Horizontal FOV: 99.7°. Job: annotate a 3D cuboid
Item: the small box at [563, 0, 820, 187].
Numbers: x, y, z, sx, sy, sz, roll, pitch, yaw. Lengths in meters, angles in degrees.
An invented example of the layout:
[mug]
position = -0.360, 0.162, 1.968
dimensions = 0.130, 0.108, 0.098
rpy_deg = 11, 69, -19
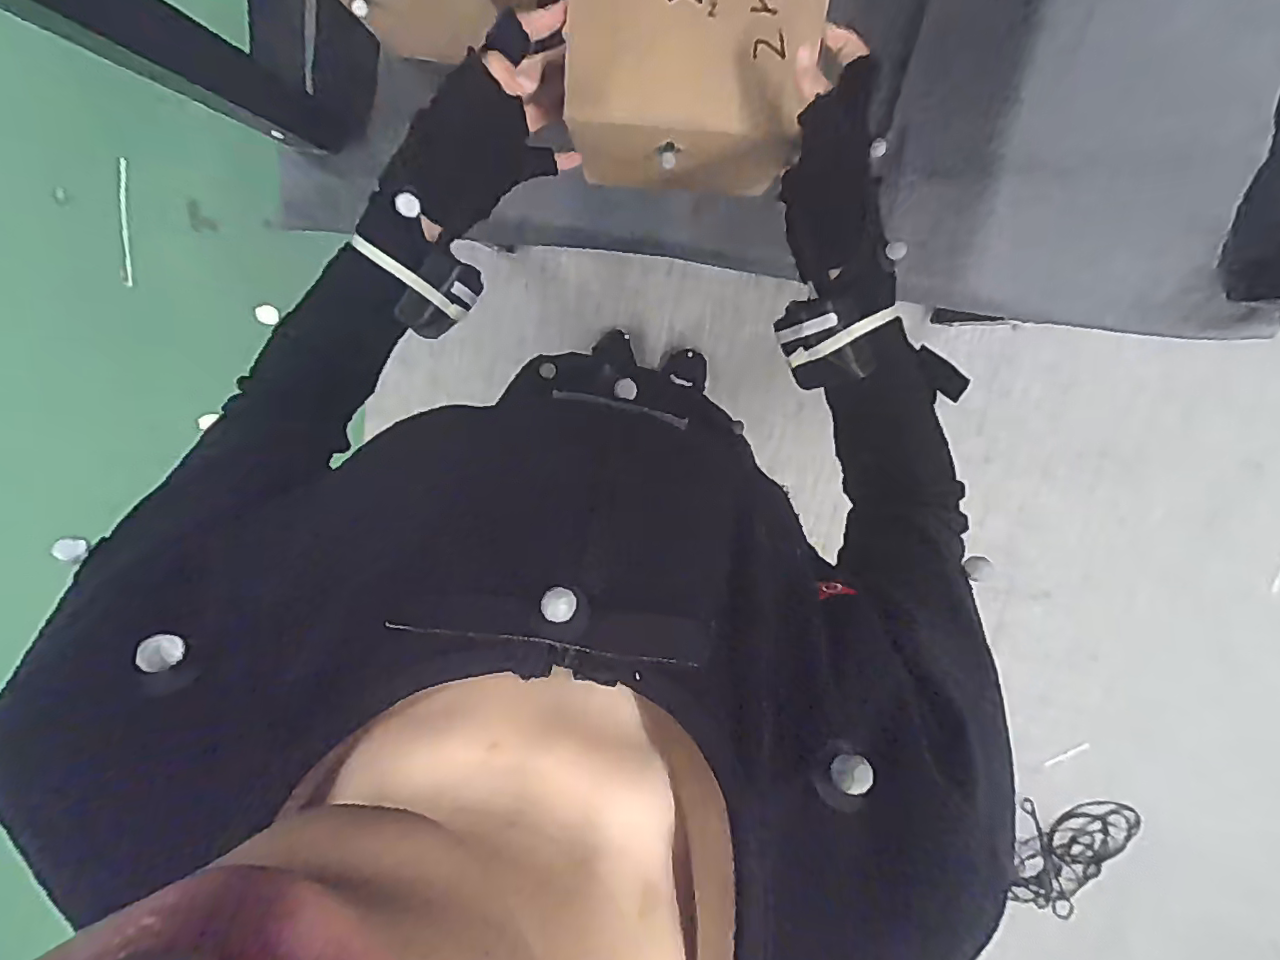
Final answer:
[small box]
position = 0.038, -0.354, 0.446
dimensions = 0.179, 0.176, 0.168
rpy_deg = 4, 107, -1
